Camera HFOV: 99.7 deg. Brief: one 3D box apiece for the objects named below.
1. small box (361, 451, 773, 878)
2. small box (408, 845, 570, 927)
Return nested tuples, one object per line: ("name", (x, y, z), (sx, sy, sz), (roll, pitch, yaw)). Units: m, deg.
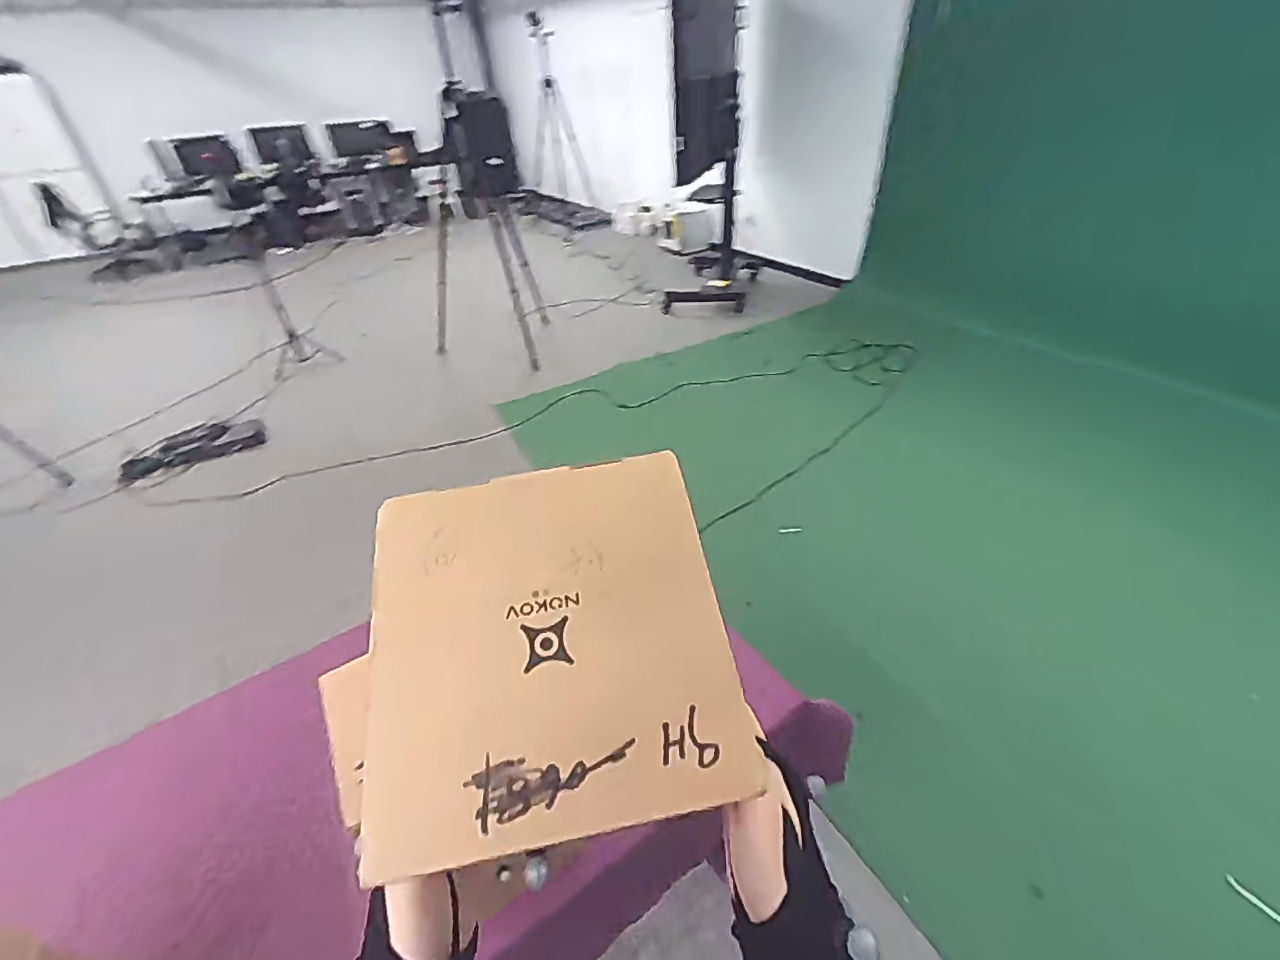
("small box", (-0.038, 0.109, 0.322), (0.168, 0.176, 0.179), (-10, 60, -3))
("small box", (-0.192, 0.400, 0.676), (0.179, 0.176, 0.168), (-25, 42, -23))
